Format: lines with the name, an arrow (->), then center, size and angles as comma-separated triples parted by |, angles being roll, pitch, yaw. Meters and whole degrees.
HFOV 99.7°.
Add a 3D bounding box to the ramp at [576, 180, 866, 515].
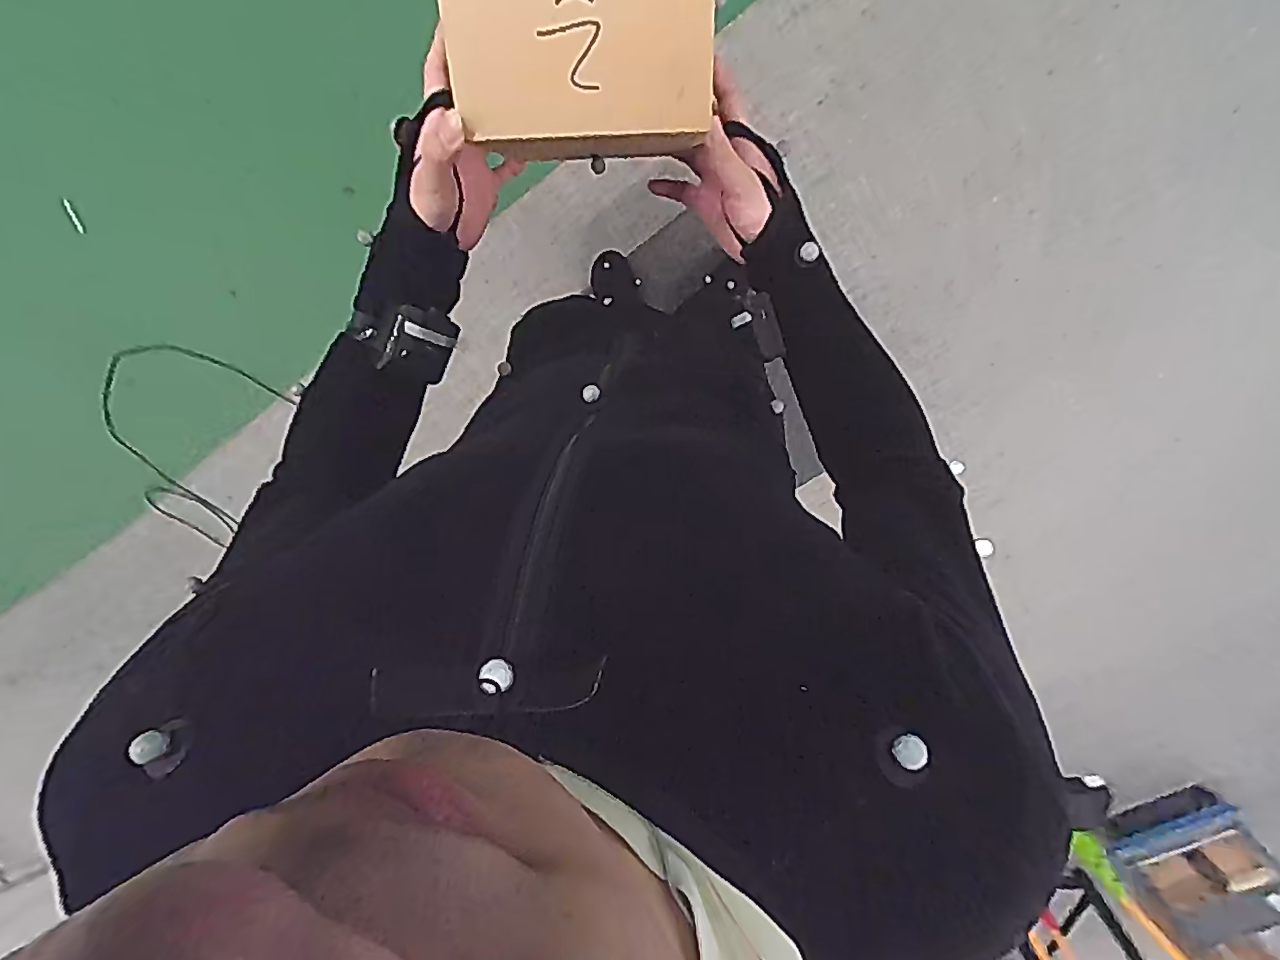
ramp -> 0.302, -0.314, 1.660 | 0.509, 0.206, 0.991 | -35, 112, 14
